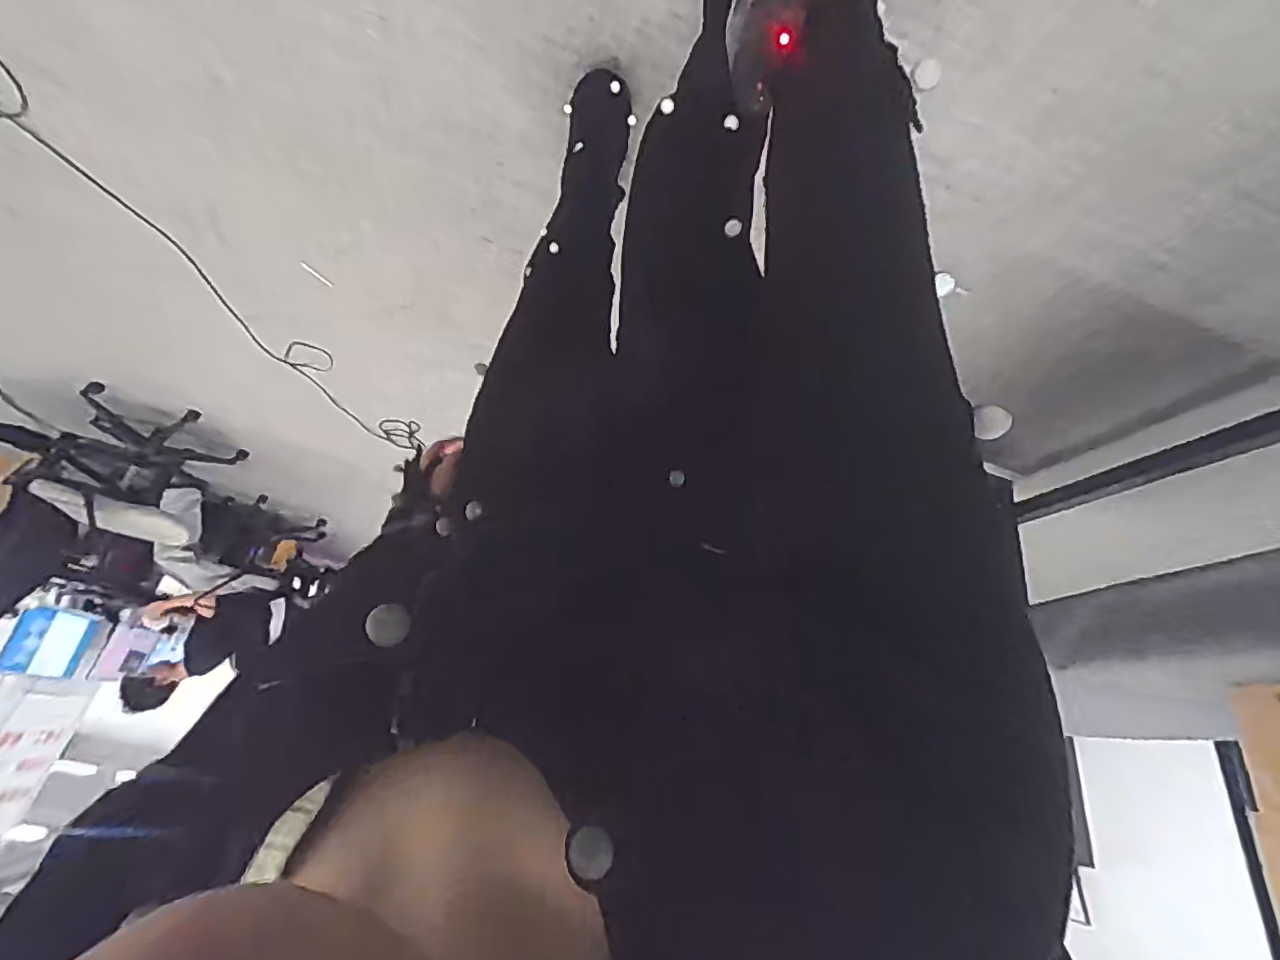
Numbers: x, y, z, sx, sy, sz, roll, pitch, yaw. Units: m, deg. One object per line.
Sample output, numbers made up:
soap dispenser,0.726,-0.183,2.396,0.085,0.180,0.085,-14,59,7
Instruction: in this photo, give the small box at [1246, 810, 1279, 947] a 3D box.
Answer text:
small box,0.928,0.525,0.665,0.179,0.176,0.168,17,153,-12

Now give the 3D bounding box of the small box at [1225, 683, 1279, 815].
small box,0.954,0.371,0.722,0.179,0.176,0.168,18,153,-15
